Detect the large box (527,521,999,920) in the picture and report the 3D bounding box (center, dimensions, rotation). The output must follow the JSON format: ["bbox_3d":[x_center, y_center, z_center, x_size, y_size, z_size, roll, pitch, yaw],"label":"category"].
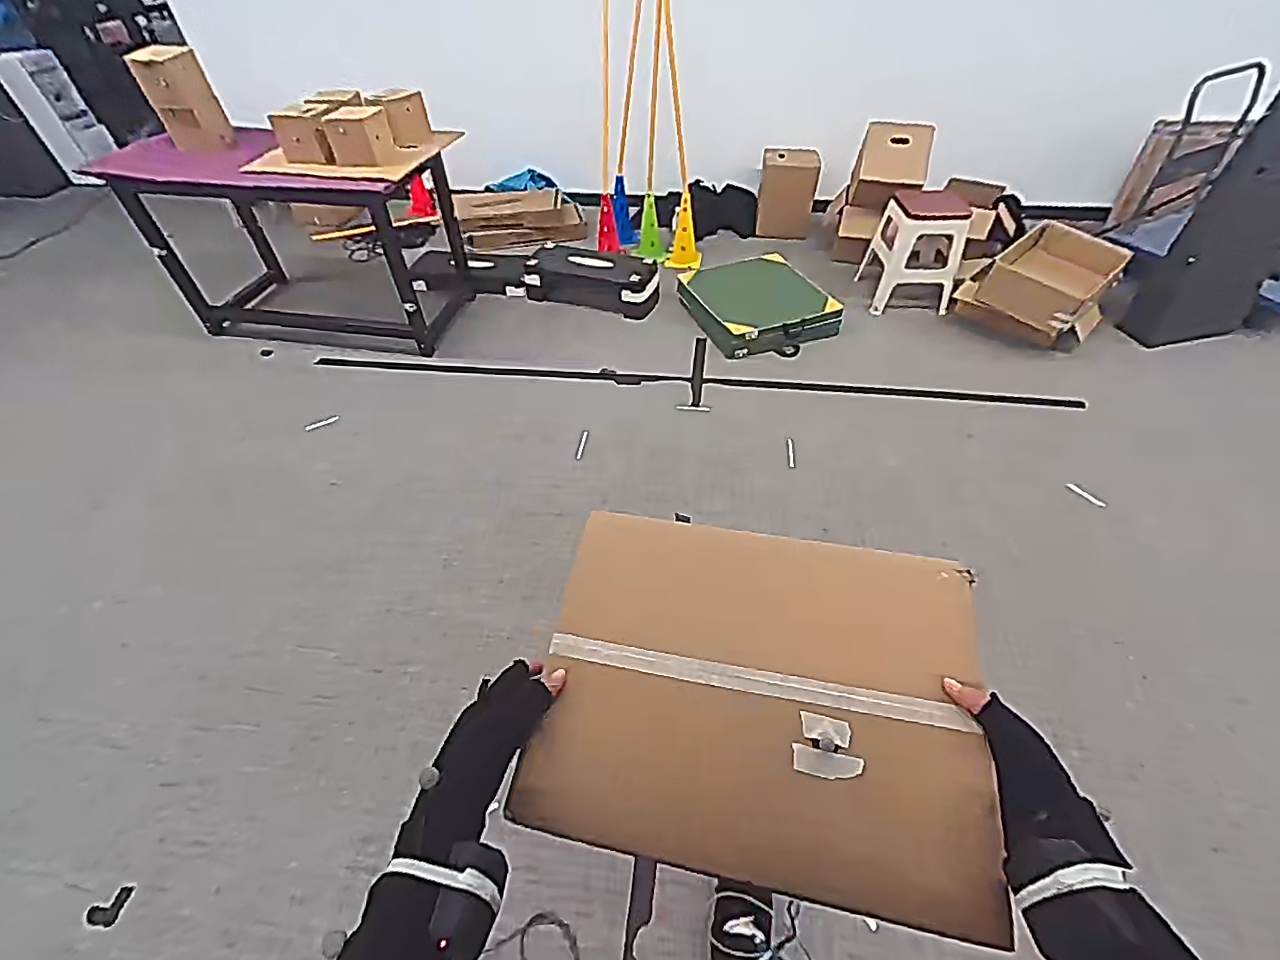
[{"bbox_3d":[0.129,0.276,0.657,0.408,0.320,0.320,7,59,11],"label":"large box"}]
